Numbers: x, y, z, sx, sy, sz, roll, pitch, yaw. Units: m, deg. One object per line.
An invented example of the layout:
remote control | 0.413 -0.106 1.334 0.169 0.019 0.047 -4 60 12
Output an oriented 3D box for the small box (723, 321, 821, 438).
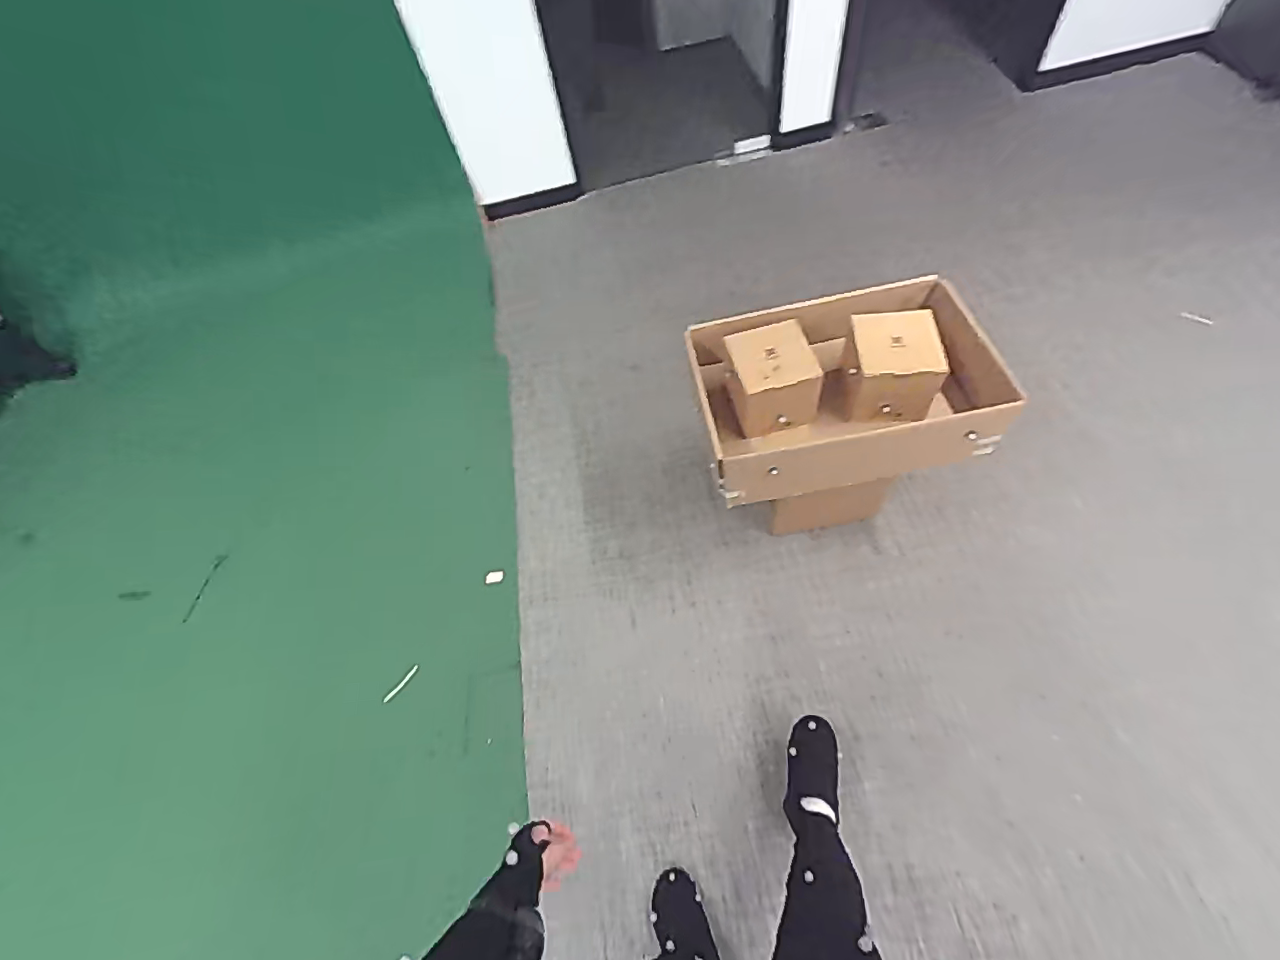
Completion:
small box | 0.288 -0.224 1.223 0.168 0.176 0.179 -14 58 1
